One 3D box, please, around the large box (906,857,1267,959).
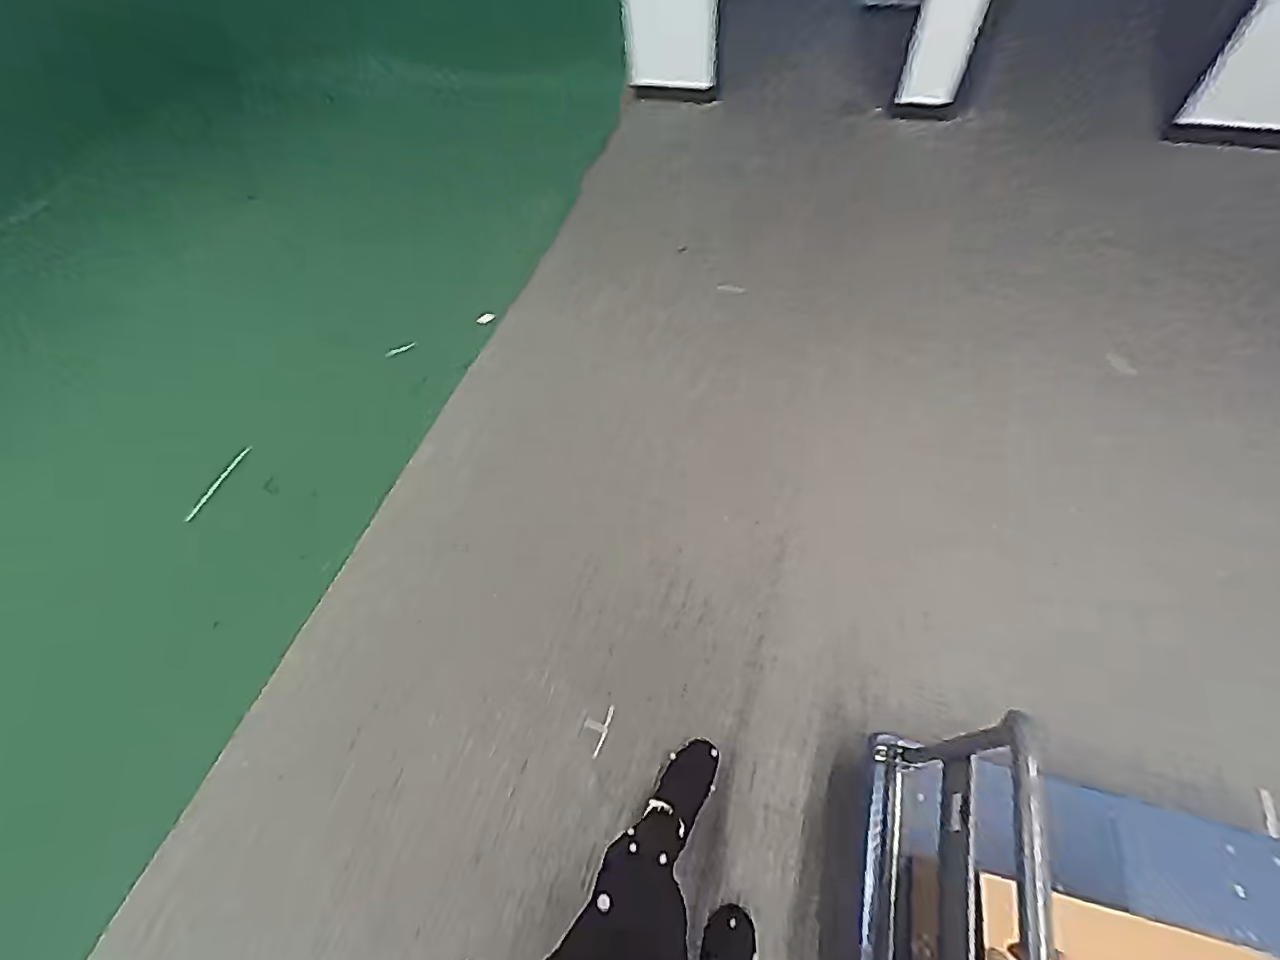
[{"bbox_3d":[0.691,0.855,0.876,0.408,0.320,0.320,11,62,11],"label":"large box"}]
